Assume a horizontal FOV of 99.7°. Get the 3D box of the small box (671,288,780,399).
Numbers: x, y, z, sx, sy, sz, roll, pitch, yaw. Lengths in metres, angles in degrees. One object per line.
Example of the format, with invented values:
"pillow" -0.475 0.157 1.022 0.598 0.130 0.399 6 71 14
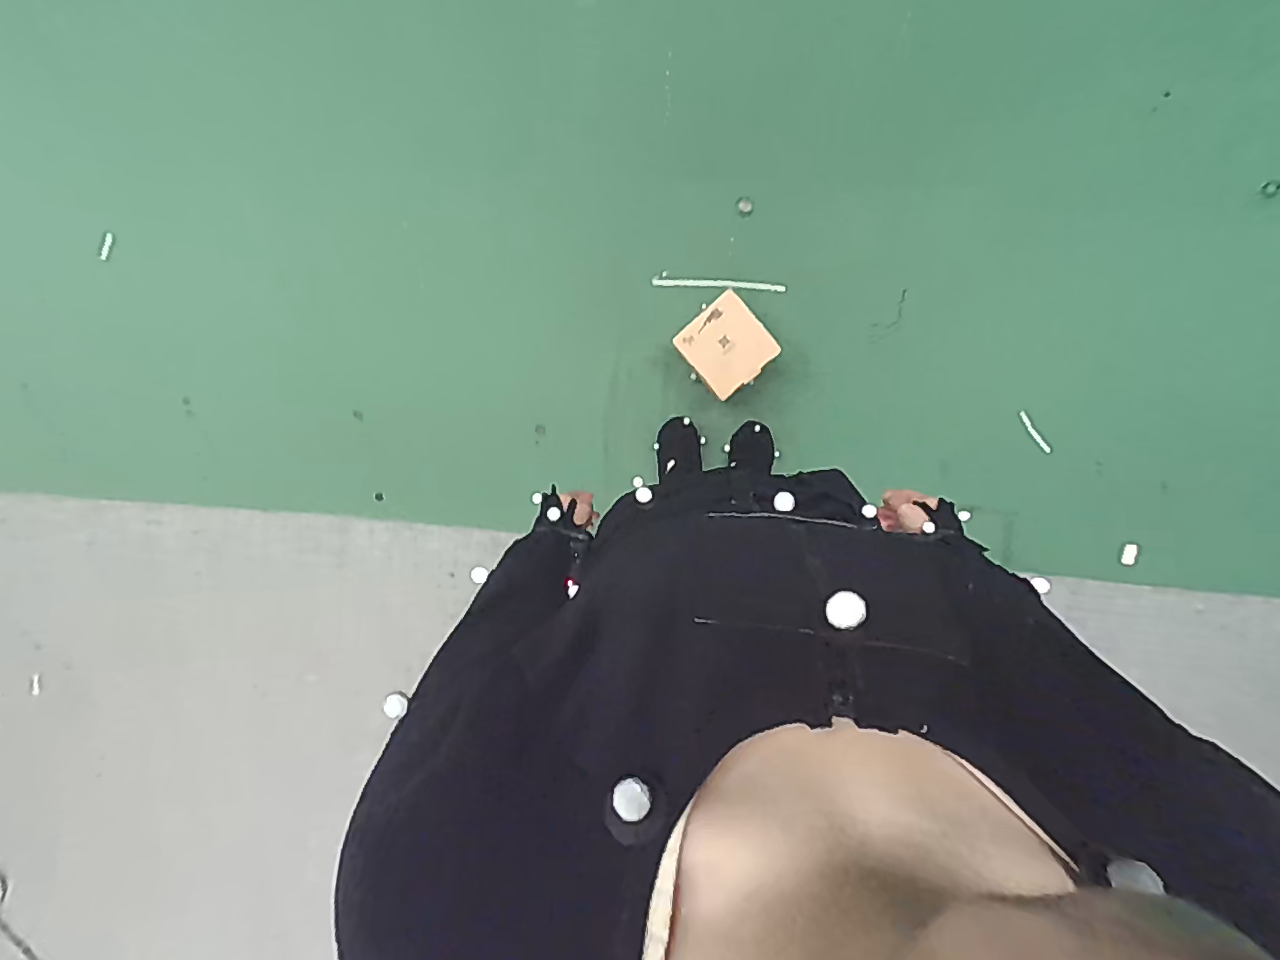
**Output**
"small box" 0.188 -0.304 1.225 0.168 0.176 0.179 -40 94 10
